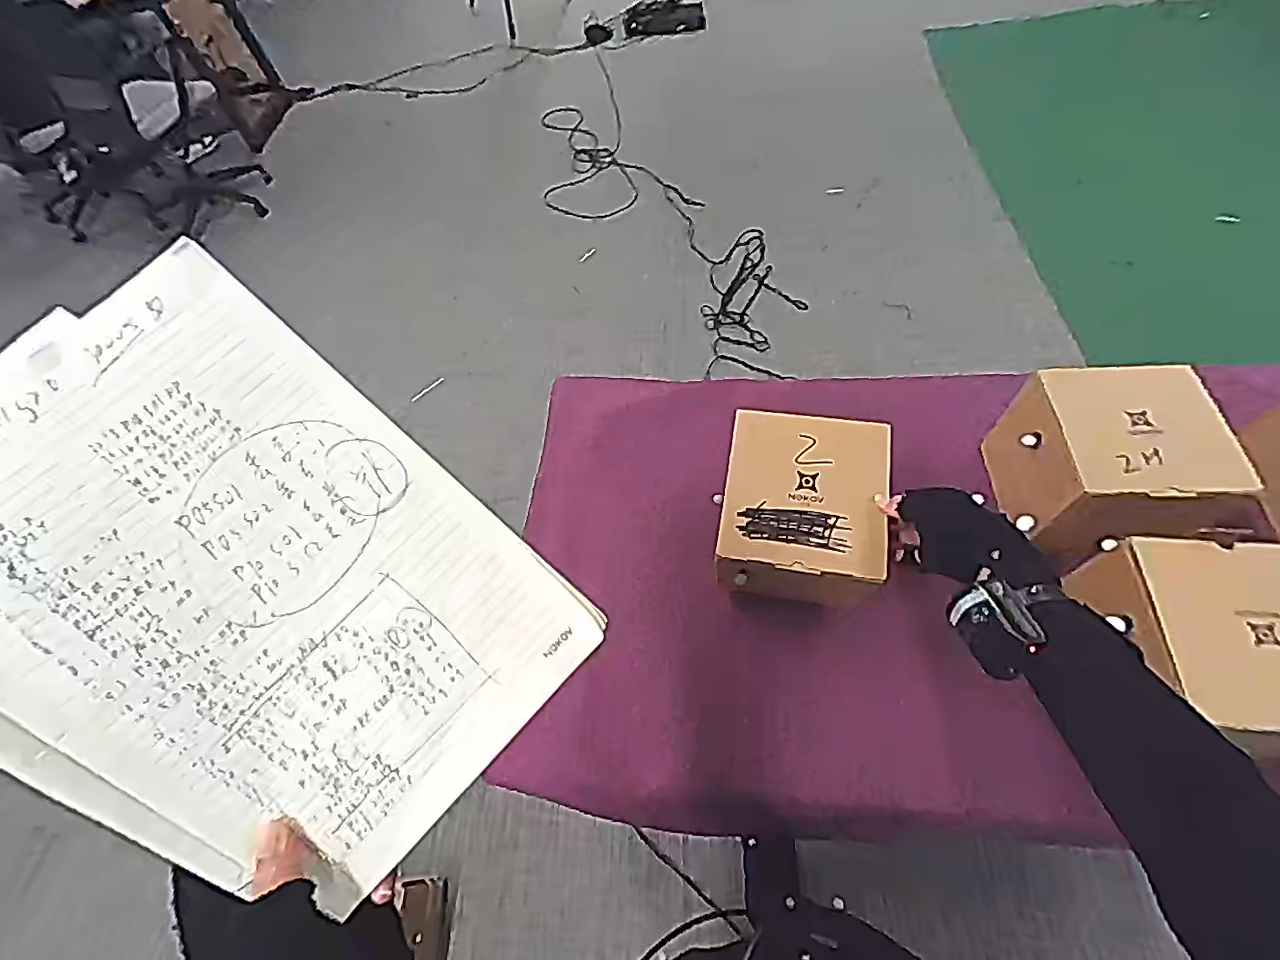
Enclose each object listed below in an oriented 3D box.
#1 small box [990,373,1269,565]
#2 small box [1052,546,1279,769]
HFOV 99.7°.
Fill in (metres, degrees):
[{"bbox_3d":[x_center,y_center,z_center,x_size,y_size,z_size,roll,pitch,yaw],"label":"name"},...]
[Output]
[{"bbox_3d":[0.562,-0.010,0.659,0.168,0.176,0.179,1,59,9],"label":"small box"},{"bbox_3d":[0.563,0.183,0.545,0.168,0.176,0.179,3,60,10],"label":"small box"}]
